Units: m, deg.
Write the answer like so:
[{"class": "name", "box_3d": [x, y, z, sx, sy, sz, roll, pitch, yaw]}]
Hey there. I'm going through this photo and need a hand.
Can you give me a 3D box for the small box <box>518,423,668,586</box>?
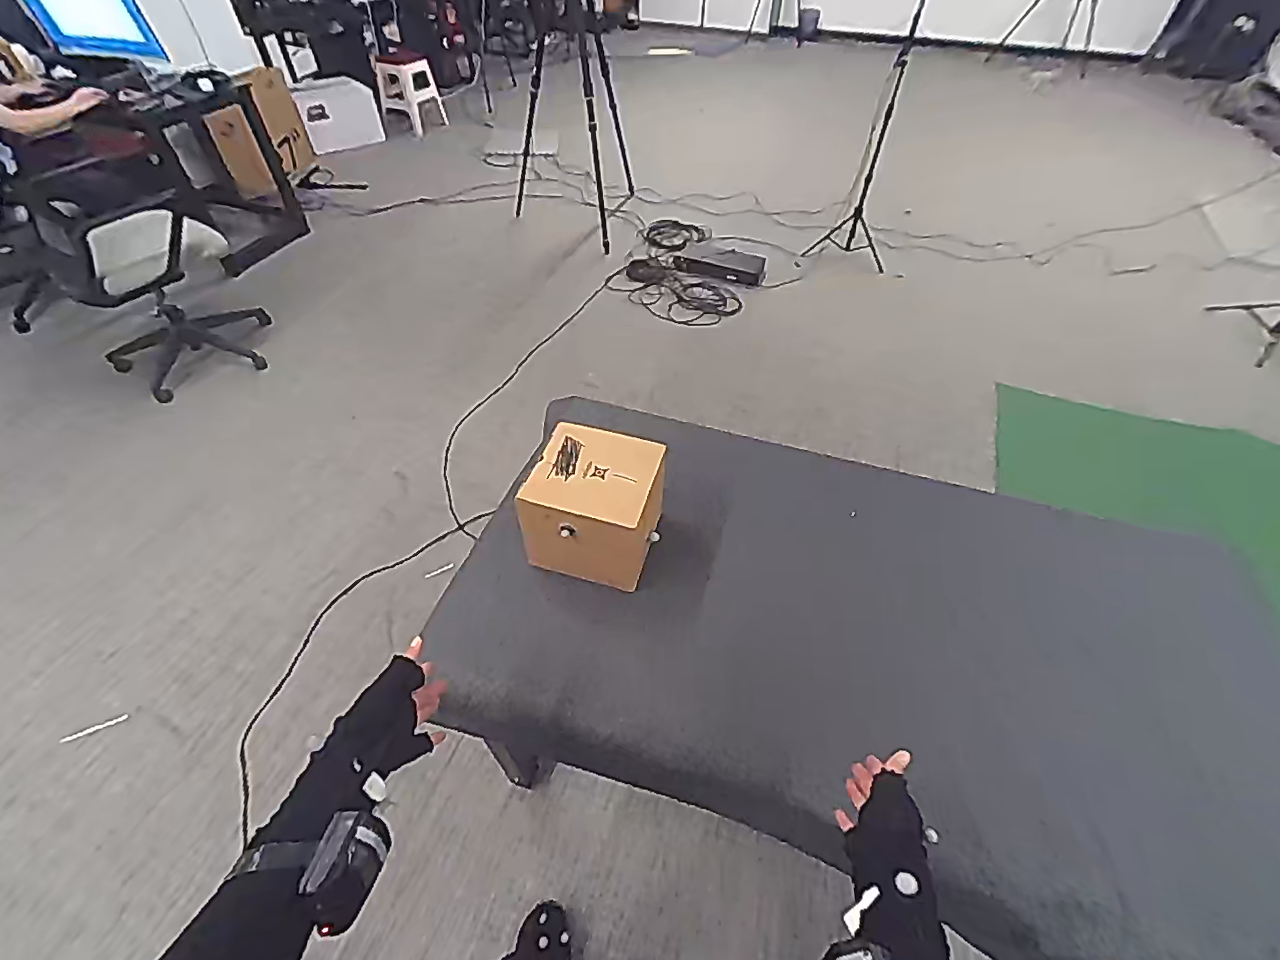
[{"class": "small box", "box_3d": [-0.066, 0.041, 0.836, 0.179, 0.176, 0.168, 14, 50, 9]}]
